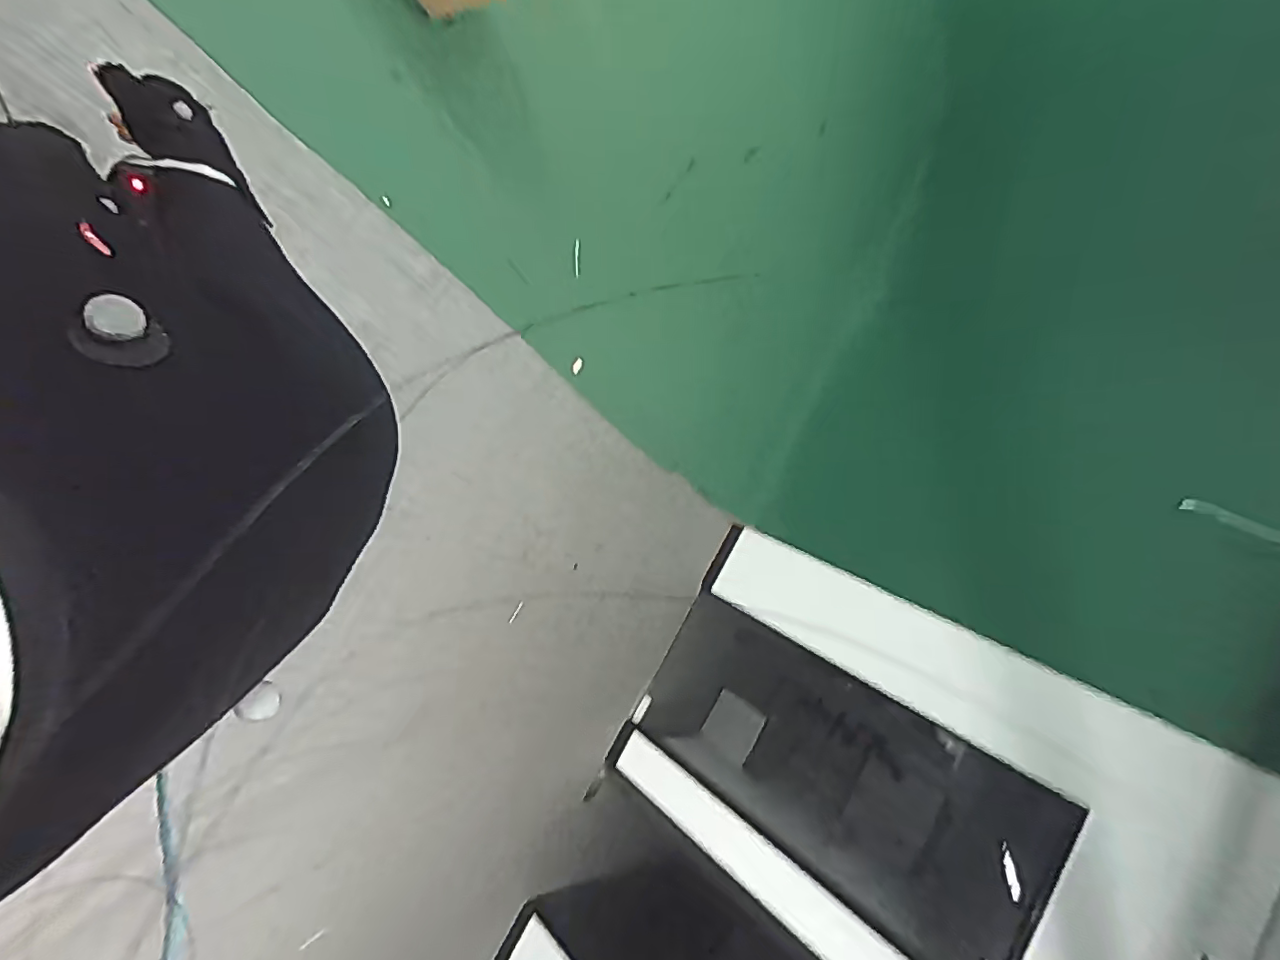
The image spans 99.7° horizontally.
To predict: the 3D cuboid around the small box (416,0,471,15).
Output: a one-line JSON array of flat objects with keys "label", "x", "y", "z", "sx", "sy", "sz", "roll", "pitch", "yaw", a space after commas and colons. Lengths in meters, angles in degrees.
[{"label": "small box", "x": -0.429, "y": -1.167, "z": 1.175, "sx": 0.179, "sy": 0.176, "sz": 0.168, "roll": -58, "pitch": 144, "yaw": -8}]
